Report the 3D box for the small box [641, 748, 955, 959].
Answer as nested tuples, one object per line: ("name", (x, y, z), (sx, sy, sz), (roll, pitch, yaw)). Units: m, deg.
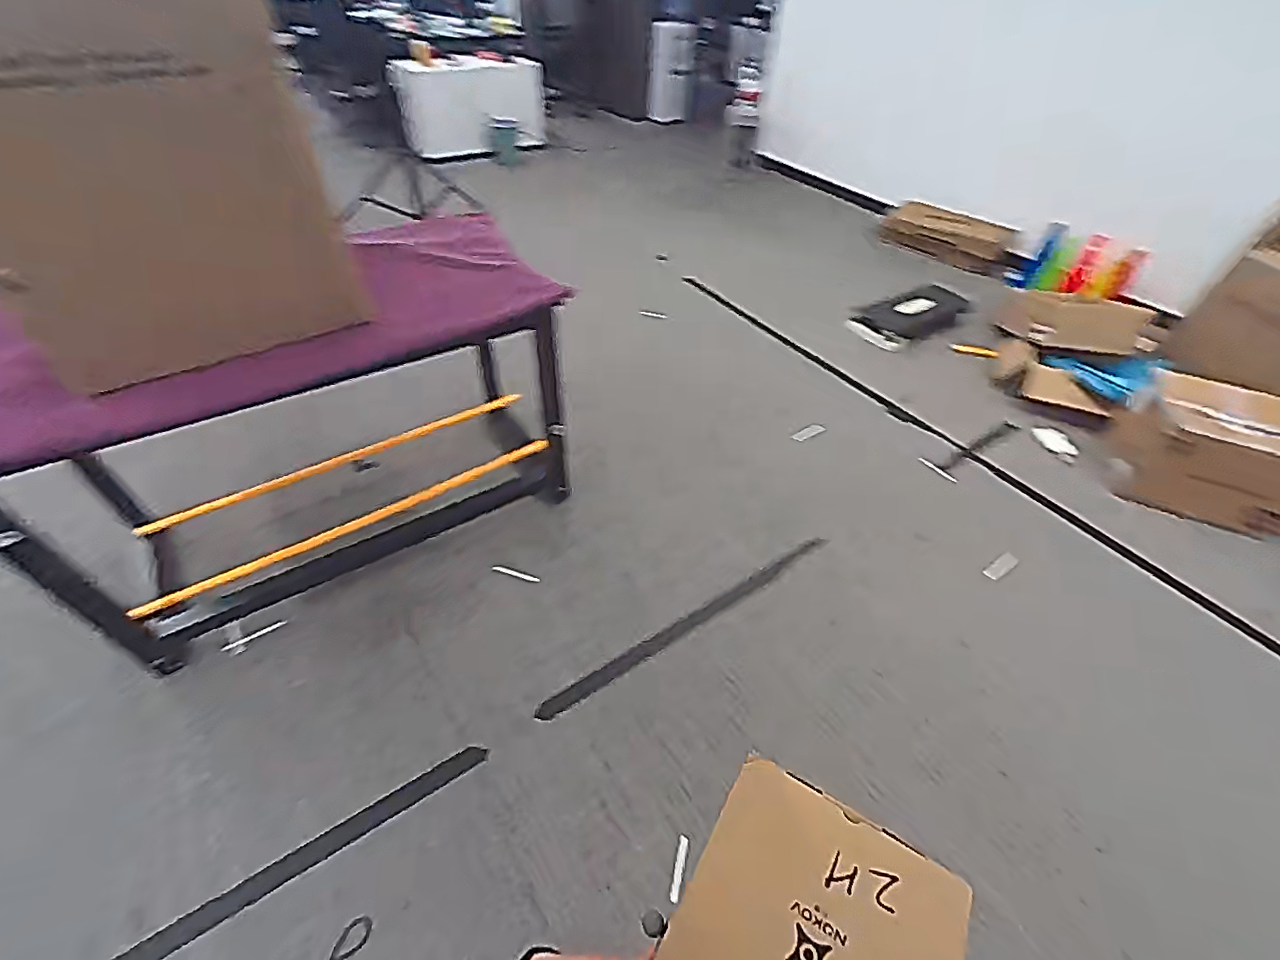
("small box", (0.103, 0.350, 0.404), (0.168, 0.176, 0.179), (23, 47, 21))
